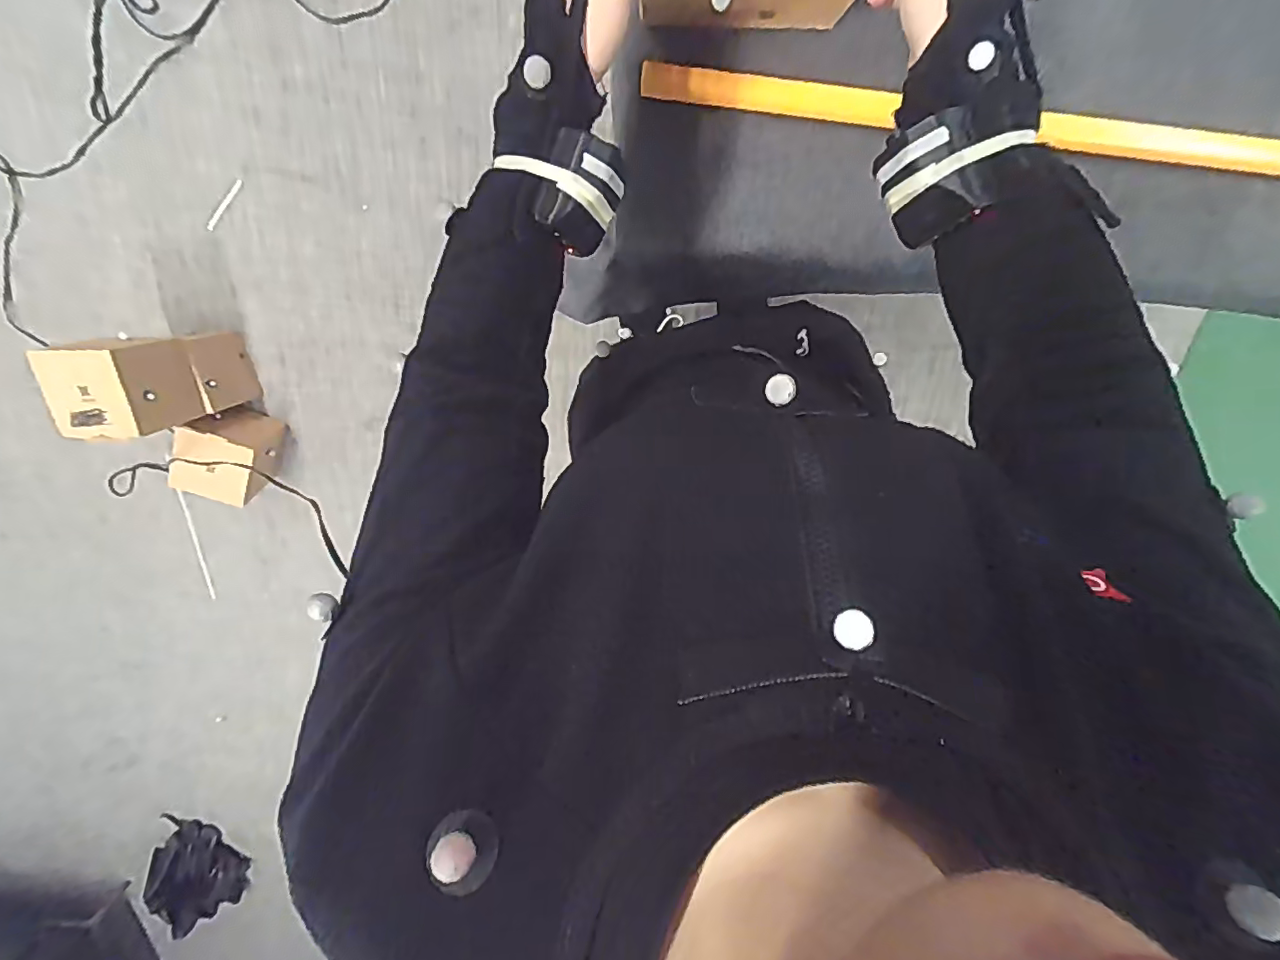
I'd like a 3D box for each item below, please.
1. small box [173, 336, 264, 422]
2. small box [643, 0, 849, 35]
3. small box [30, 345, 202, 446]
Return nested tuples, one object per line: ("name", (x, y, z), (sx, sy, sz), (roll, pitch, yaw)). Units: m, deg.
("small box", (-1.050, -0.236, 1.278), (0.179, 0.176, 0.168), (-6, 116, 6))
("small box", (0.082, -0.430, 0.361), (0.168, 0.176, 0.179), (2, 112, 2))
("small box", (-1.065, -0.179, 1.119), (0.168, 0.176, 0.179), (0, 112, 2))
